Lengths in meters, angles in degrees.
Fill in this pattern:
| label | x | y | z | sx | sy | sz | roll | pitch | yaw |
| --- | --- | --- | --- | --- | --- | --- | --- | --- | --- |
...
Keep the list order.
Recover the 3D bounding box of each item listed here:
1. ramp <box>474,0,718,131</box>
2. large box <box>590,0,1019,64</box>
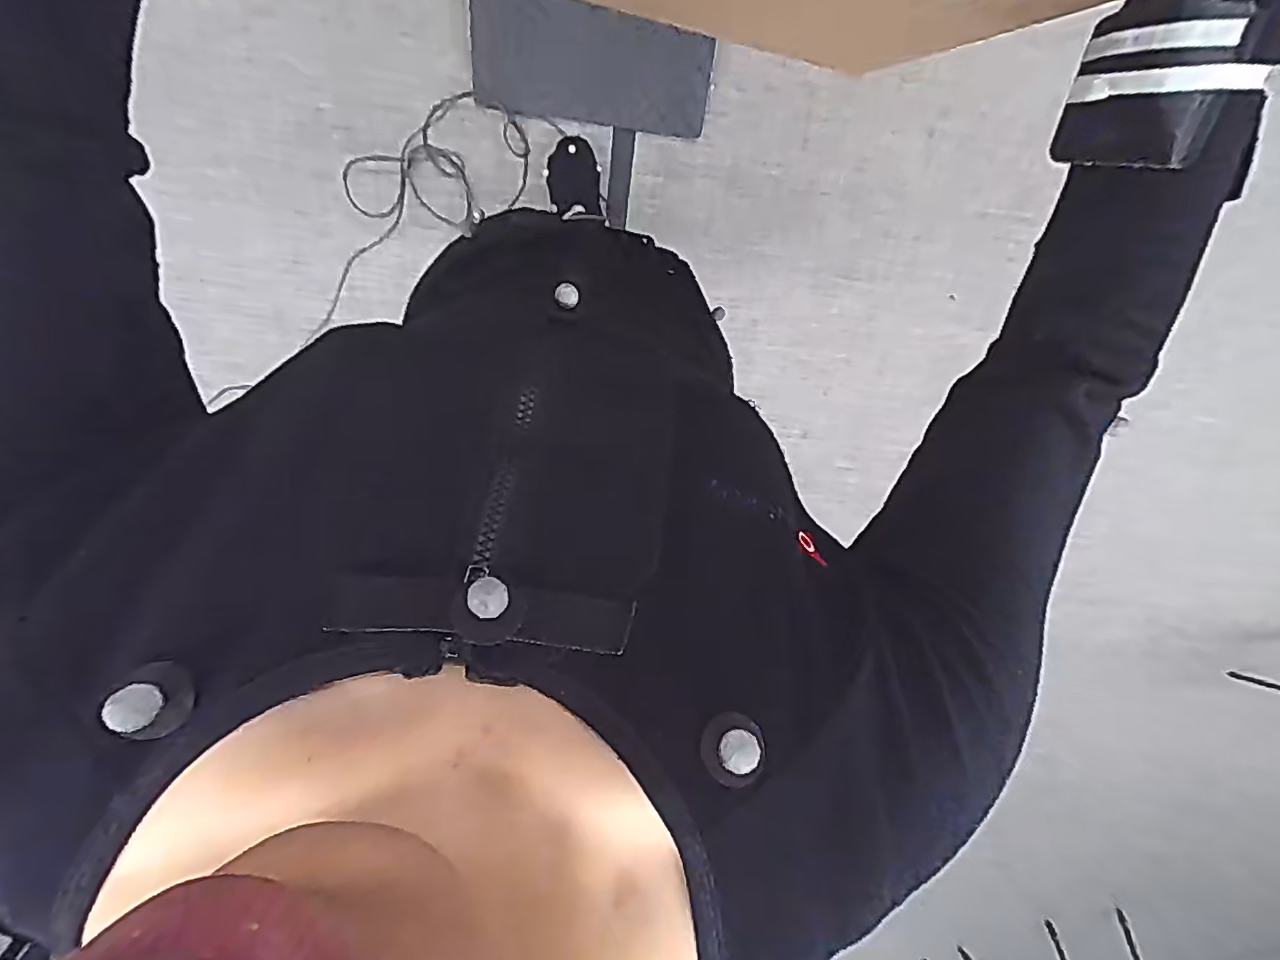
| label | x | y | z | sx | sy | sz | roll | pitch | yaw |
| --- | --- | --- | --- | --- | --- | --- | --- | --- | --- |
| ramp | -0.041 | -1.185 | 0.880 | 0.509 | 0.206 | 0.991 | 2 | 117 | -7 |
| large box | 0.054 | -0.469 | 0.280 | 0.408 | 0.320 | 0.320 | 6 | 120 | -11 |
